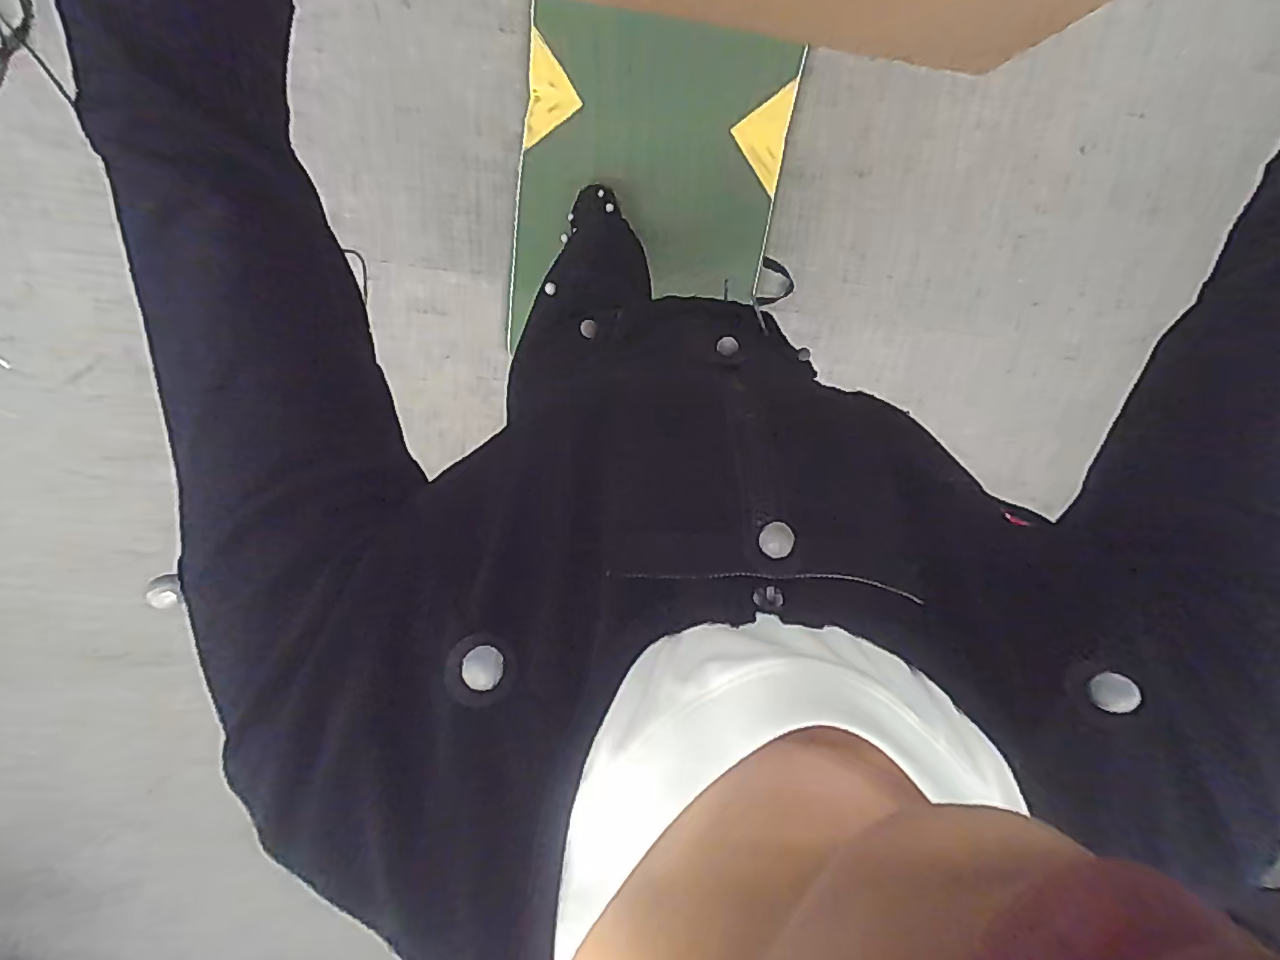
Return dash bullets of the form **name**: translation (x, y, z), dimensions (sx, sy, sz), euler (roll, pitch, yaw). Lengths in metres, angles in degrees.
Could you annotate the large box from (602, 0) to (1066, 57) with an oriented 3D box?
- **large box**: translation (0.122, -0.473, 0.263), dimensions (0.408, 0.320, 0.320), euler (6, 110, -5)
